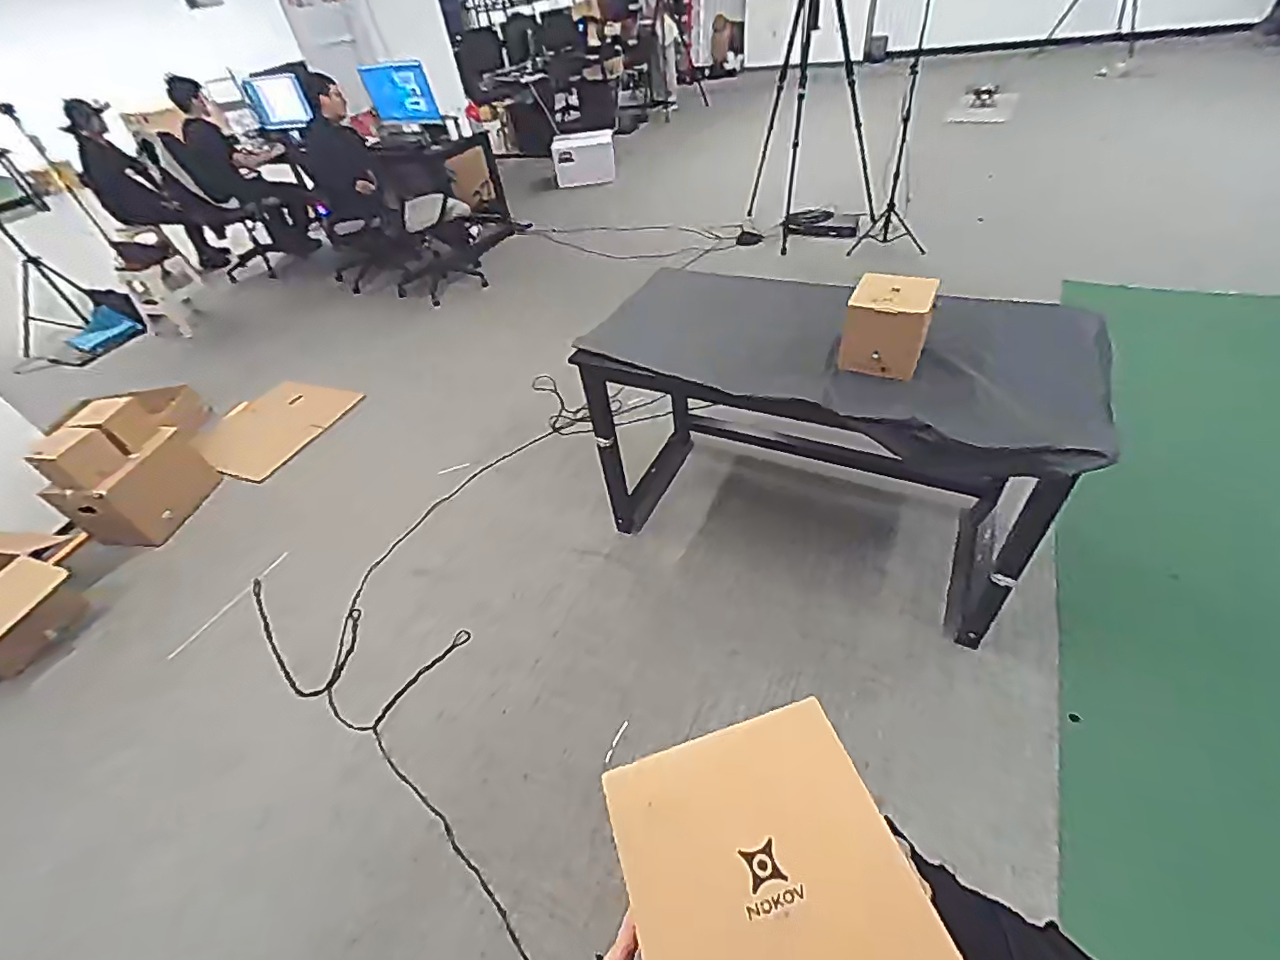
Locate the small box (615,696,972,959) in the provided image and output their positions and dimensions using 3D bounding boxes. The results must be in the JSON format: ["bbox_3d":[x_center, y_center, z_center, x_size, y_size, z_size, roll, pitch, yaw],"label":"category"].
[{"bbox_3d":[0.087,0.290,0.379,0.168,0.176,0.179,-15,44,-9],"label":"small box"}]

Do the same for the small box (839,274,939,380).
[{"bbox_3d":[0.579,-0.360,1.270,0.168,0.176,0.179,17,49,25],"label":"small box"}]
